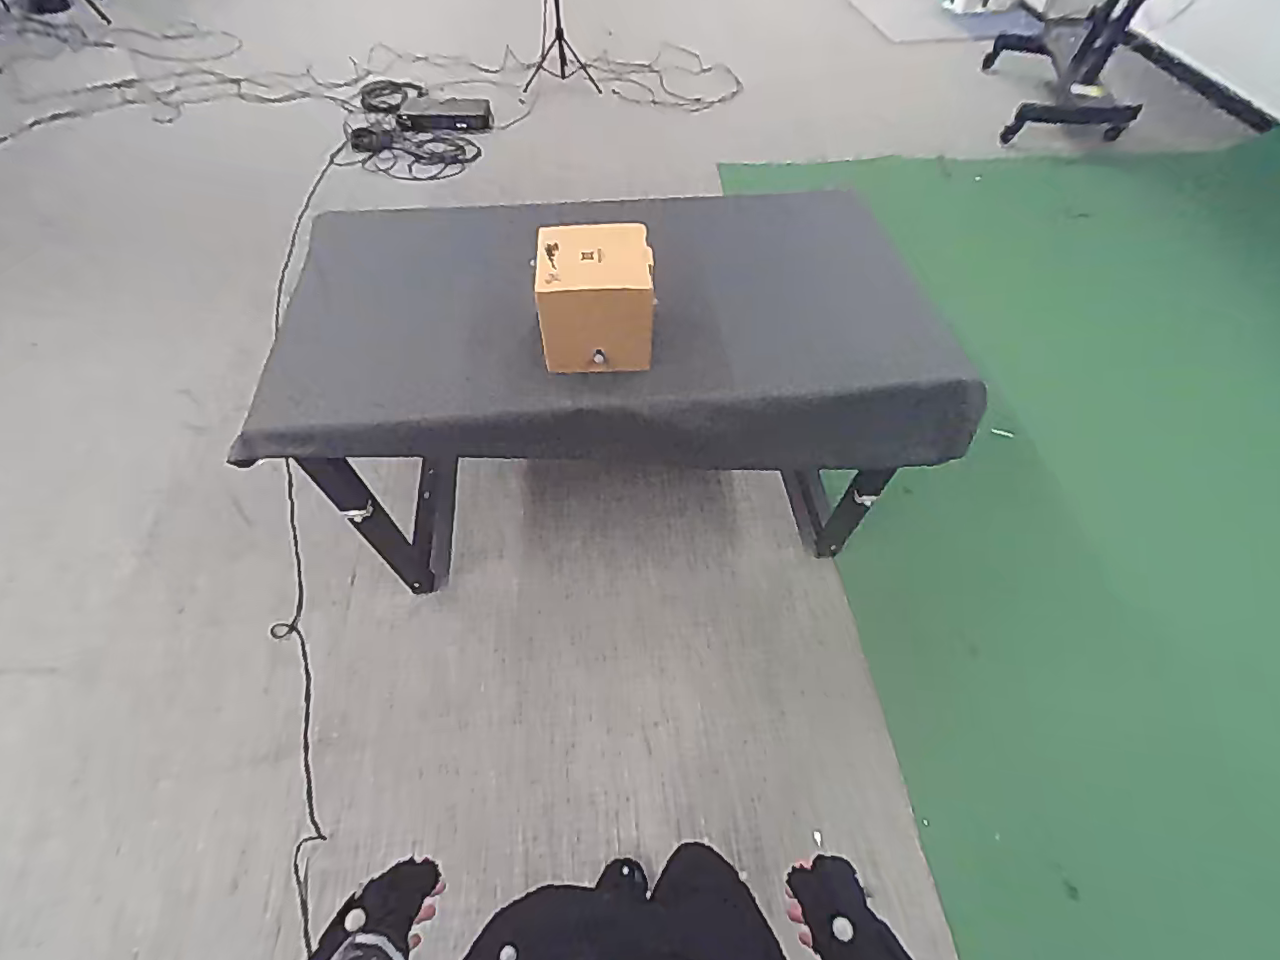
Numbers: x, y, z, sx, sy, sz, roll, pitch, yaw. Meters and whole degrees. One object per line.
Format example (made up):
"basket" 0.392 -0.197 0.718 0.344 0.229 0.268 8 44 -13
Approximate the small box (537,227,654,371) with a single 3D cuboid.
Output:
"small box" -0.073 -0.298 0.907 0.179 0.176 0.168 -2 56 -3
